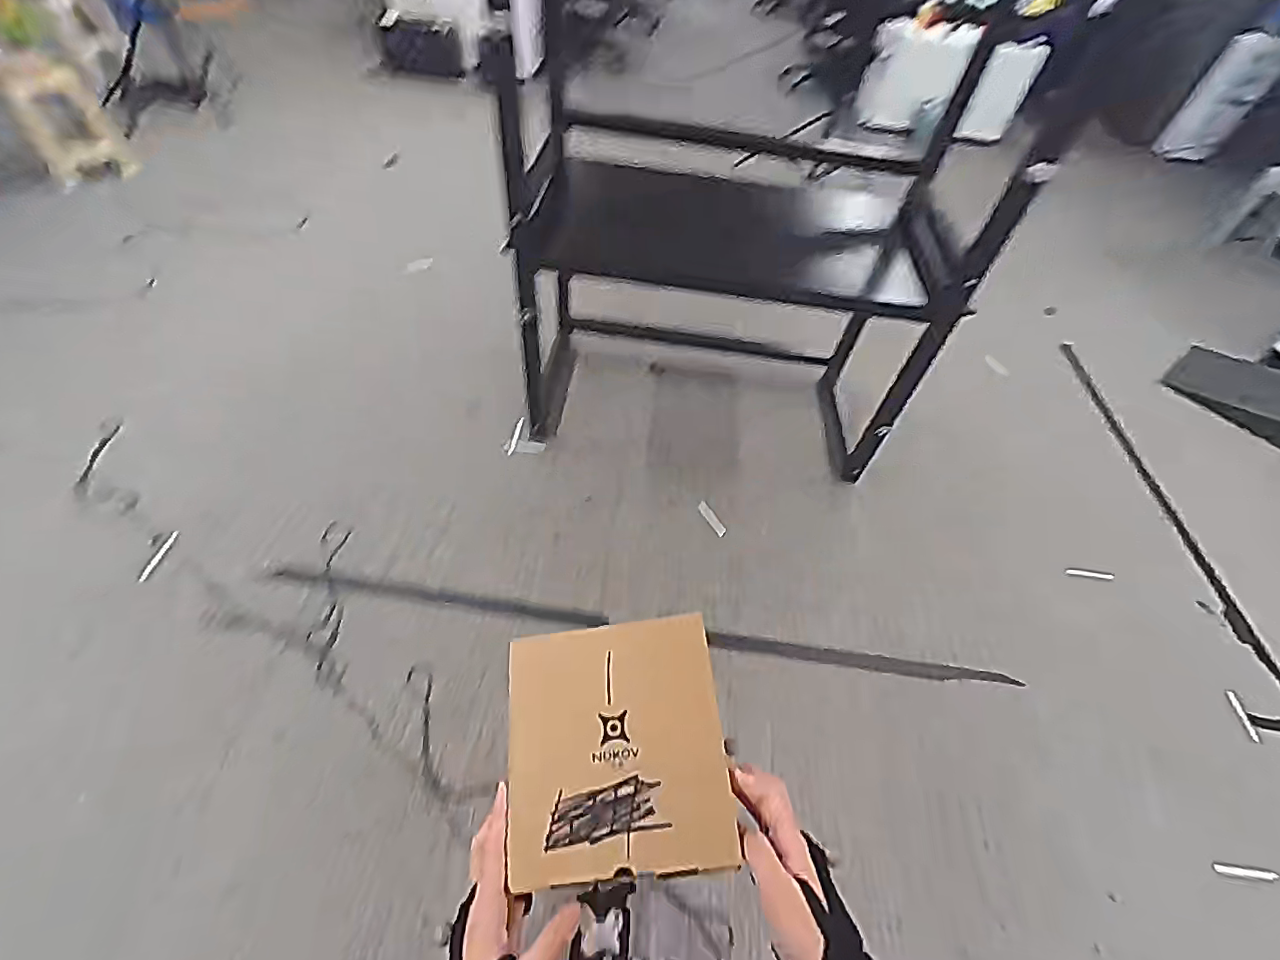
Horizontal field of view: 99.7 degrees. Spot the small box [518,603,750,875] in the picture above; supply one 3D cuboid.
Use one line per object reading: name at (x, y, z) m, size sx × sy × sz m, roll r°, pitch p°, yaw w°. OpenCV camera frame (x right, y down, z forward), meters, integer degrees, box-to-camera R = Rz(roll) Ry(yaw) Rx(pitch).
small box at (0.001, 0.224, 0.476) m, size 0.168 × 0.176 × 0.179 m, roll -8°, pitch 60°, yaw 5°
